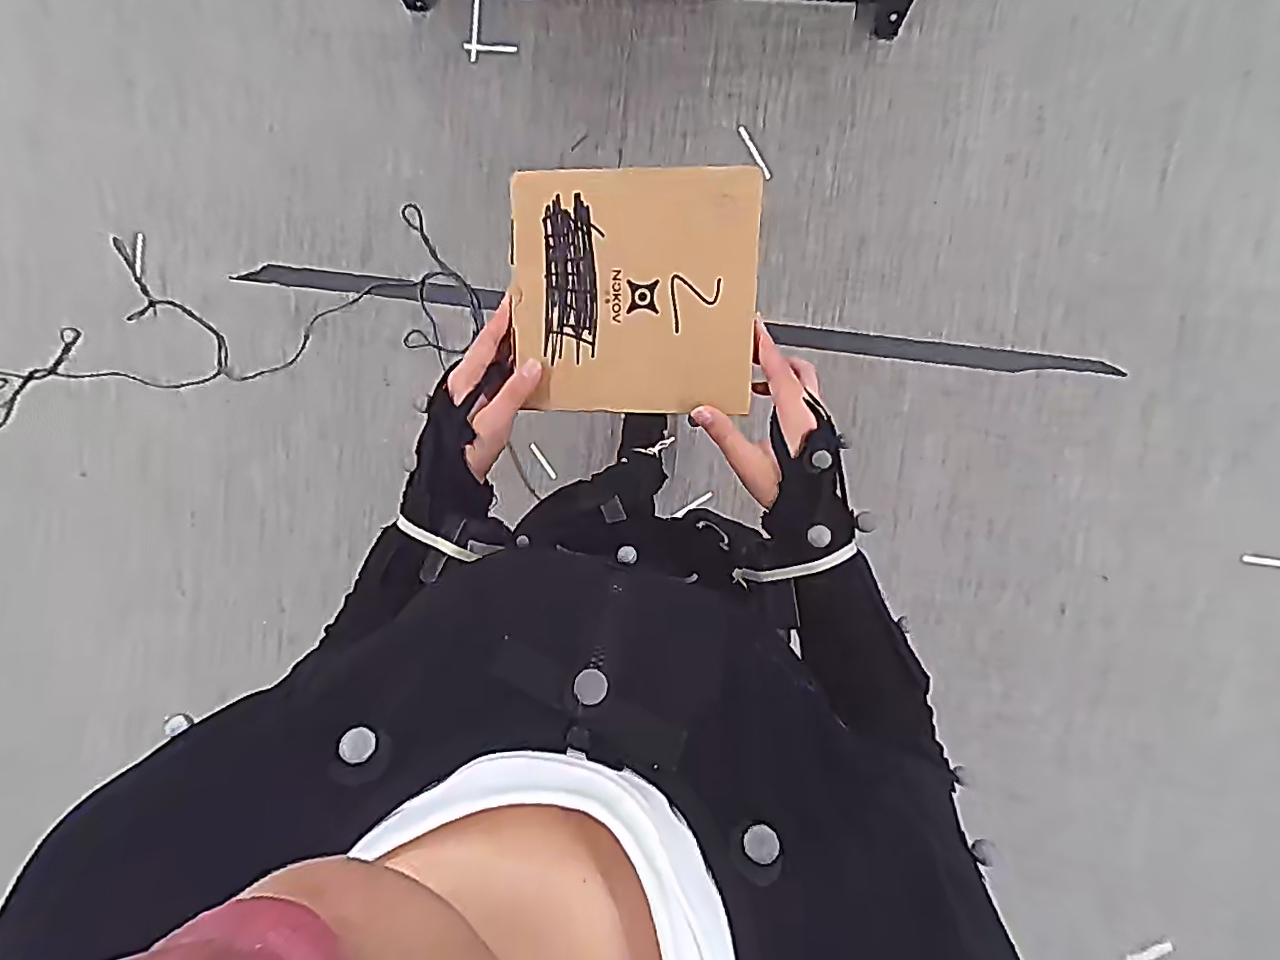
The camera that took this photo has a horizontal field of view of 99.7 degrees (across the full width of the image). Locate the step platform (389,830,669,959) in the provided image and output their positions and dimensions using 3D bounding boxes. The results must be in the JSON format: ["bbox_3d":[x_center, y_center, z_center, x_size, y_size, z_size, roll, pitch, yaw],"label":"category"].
[{"bbox_3d":[-0.271,1.133,1.366,0.684,0.204,0.286,7,95,3],"label":"step platform"}]
